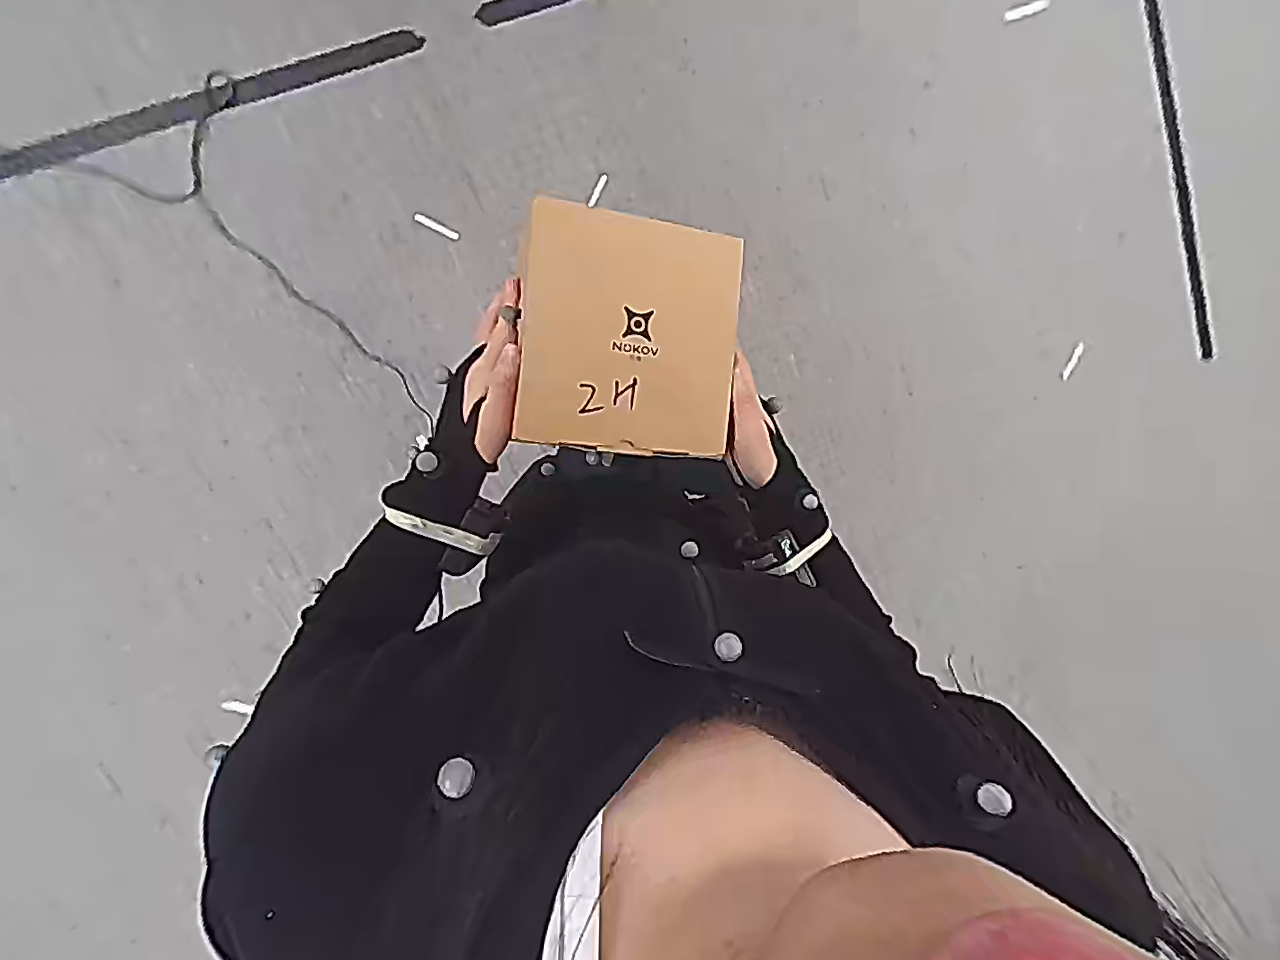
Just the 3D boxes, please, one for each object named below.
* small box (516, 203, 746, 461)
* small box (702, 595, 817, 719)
[{"bbox_3d":[-0.021,-0.112,0.491,0.168,0.176,0.179,5,91,-16],"label":"small box"},{"bbox_3d":[0.267,0.389,1.223,0.179,0.176,0.168,-32,101,-5],"label":"small box"}]
